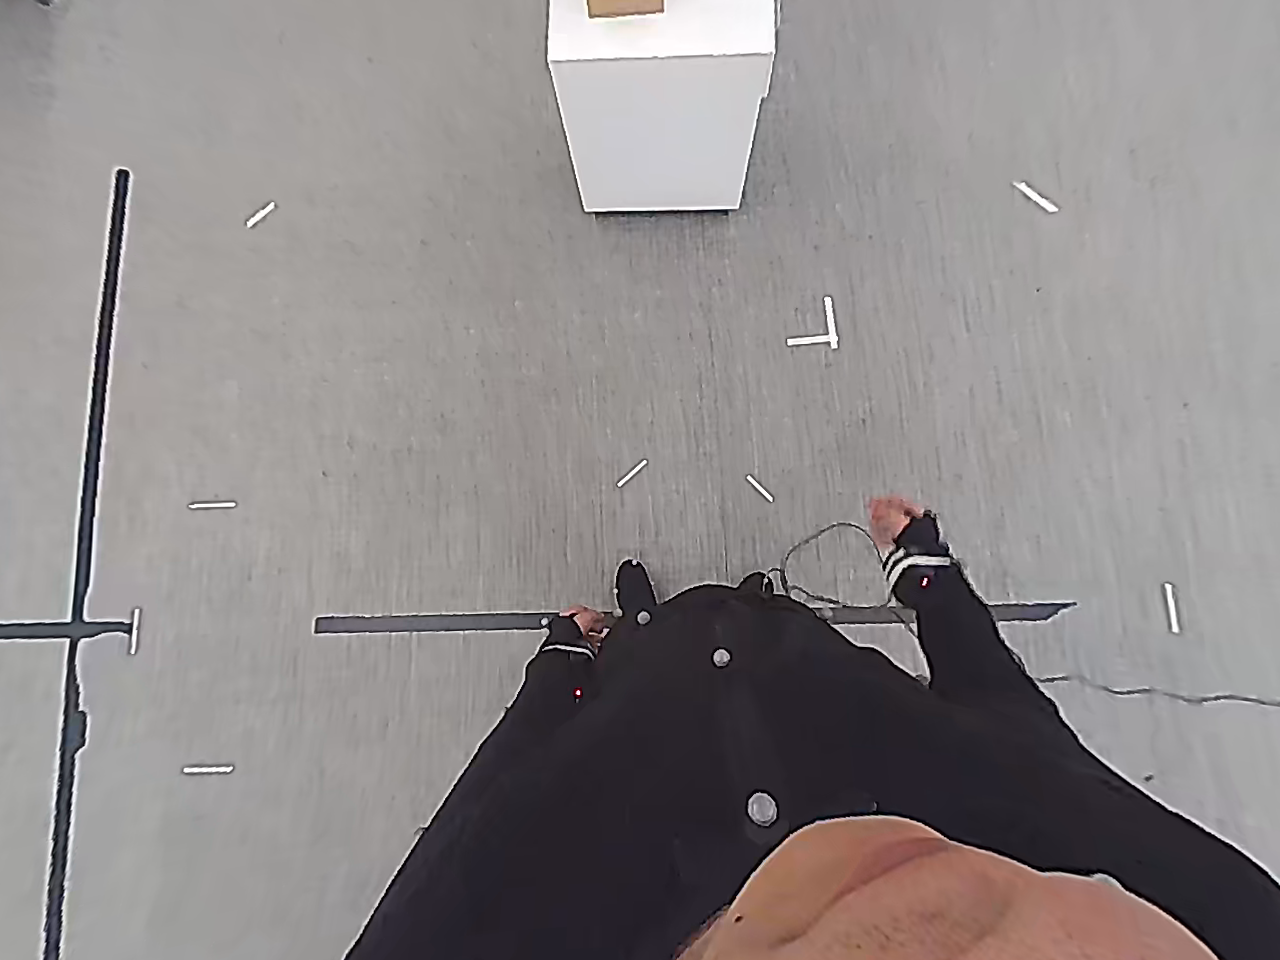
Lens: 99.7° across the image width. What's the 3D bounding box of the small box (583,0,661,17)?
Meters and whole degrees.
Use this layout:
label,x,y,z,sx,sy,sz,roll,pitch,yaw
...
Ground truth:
label,x,y,z,sx,sy,sz,roll,pitch,yaw
small box,-0.045,-1.153,1.173,0.179,0.176,0.168,-2,82,1
